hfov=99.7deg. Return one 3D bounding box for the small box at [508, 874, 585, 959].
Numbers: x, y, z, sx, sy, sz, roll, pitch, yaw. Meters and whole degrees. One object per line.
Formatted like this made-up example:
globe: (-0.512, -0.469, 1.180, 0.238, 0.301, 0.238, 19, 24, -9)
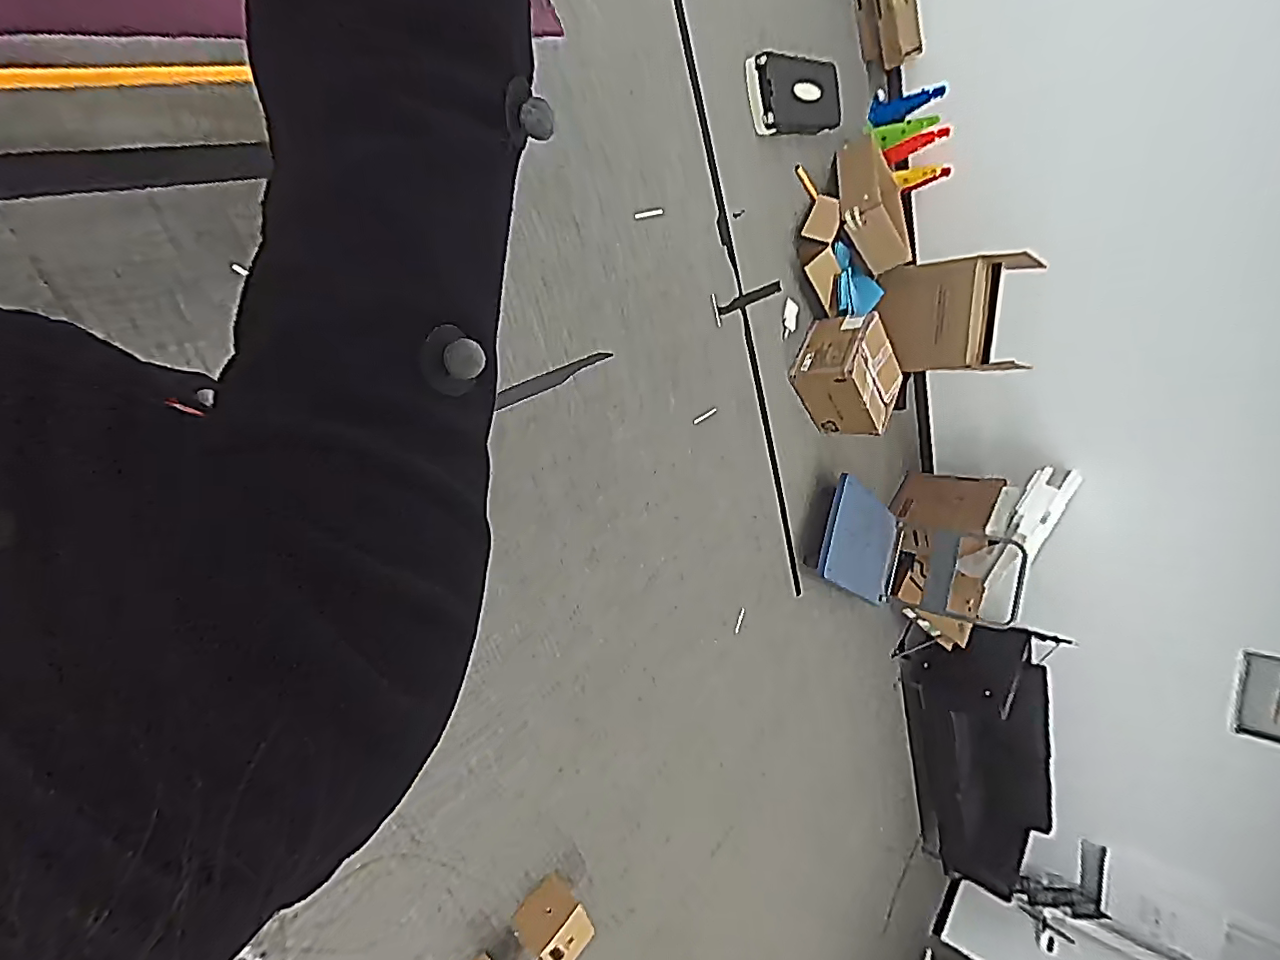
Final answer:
small box: (-0.317, 1.474, 1.795, 0.179, 0.176, 0.168, -34, 118, -39)
